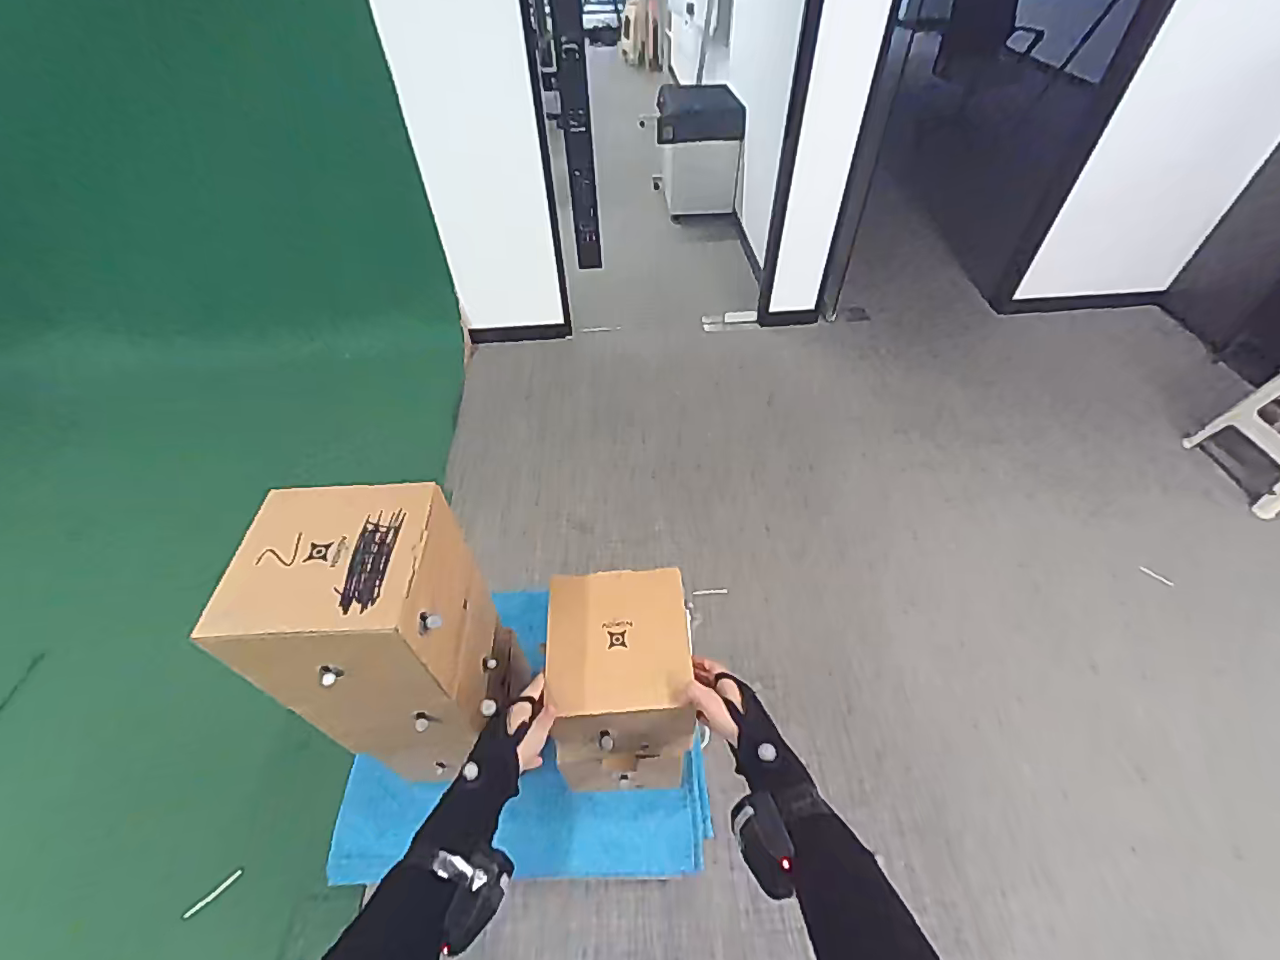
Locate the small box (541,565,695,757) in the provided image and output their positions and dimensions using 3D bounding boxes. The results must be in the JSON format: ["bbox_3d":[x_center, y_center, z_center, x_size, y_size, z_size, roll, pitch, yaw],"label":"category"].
[{"bbox_3d":[-0.024,0.230,0.675,0.168,0.176,0.179,-4,47,-2],"label":"small box"}]

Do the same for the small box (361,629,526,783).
[{"bbox_3d":[-0.272,0.336,0.801,0.179,0.176,0.168,-3,48,-1],"label":"small box"}]

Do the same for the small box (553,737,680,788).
[{"bbox_3d":[-0.029,0.340,0.794,0.168,0.176,0.179,-2,48,-1],"label":"small box"}]

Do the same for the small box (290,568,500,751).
[{"bbox_3d":[-0.283,0.227,0.678,0.179,0.176,0.168,-3,48,-1],"label":"small box"}]
